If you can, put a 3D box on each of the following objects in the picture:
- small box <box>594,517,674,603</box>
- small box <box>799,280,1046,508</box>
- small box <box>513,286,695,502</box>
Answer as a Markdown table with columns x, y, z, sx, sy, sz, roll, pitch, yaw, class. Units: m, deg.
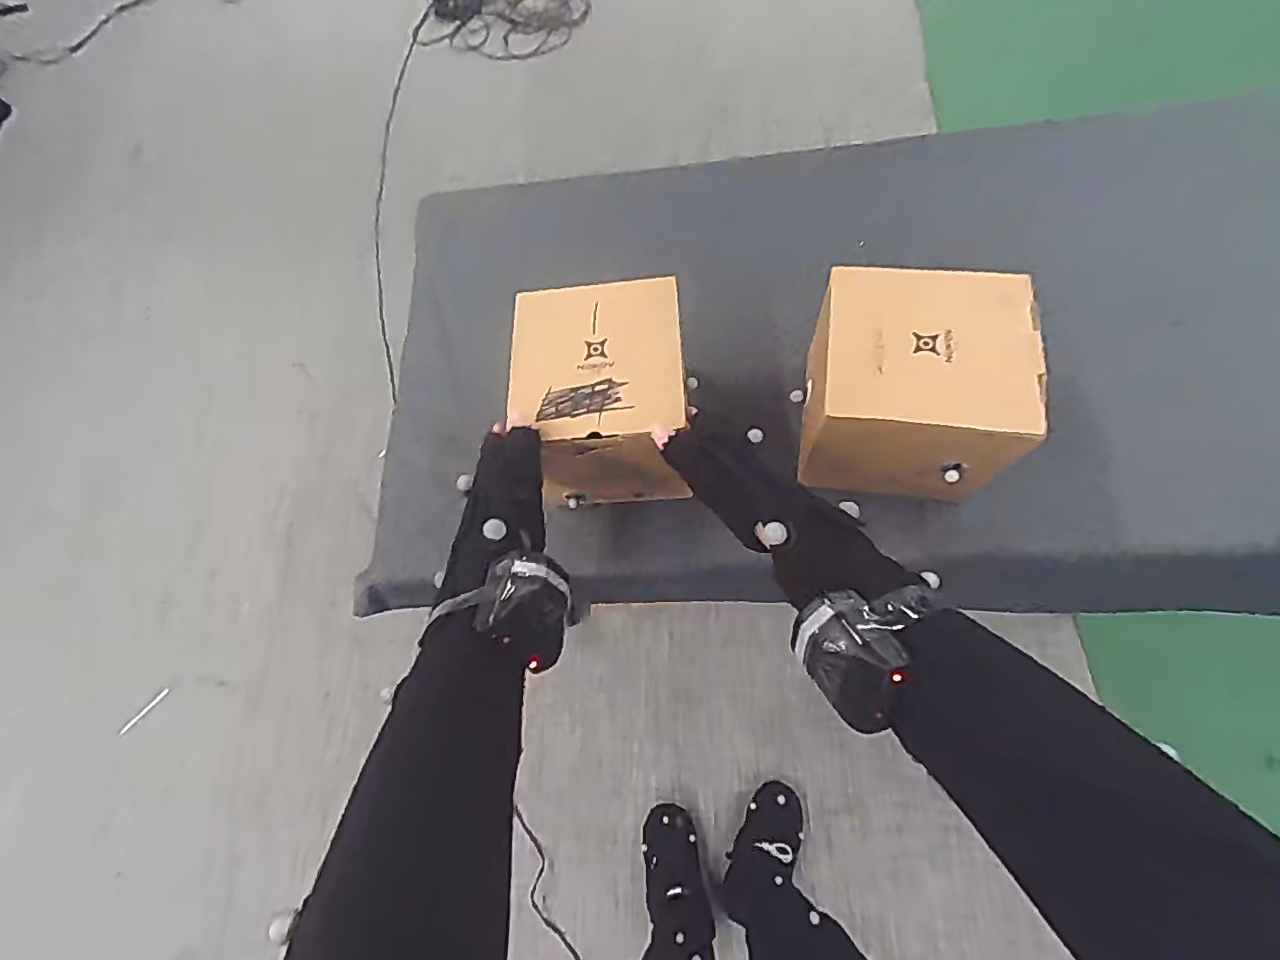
| x | y | z | sx | sy | sz | roll | pitch | yaw | class |
| --- | --- | --- | --- | --- | --- | --- | --- | --- | --- |
| -0.009 | 0.193 | 1.271 | 0.168 | 0.176 | 0.179 | -3 | 69 | 7 | small box |
| 0.270 | -0.079 | 0.554 | 0.179 | 0.176 | 0.168 | 6 | 69 | 11 | small box |
| -0.027 | -0.080 | 0.590 | 0.168 | 0.176 | 0.179 | -3 | 67 | 6 | small box |
